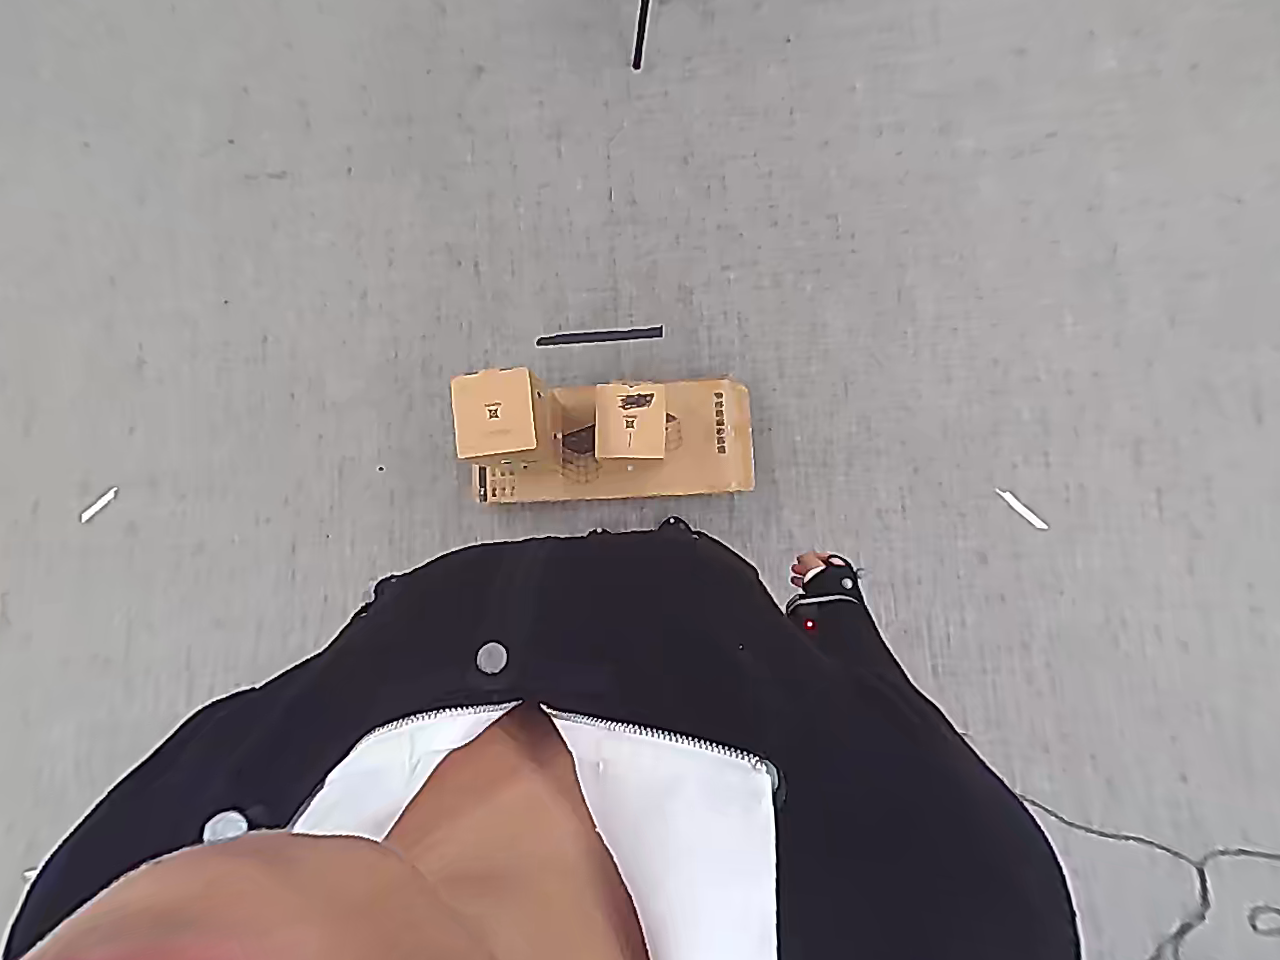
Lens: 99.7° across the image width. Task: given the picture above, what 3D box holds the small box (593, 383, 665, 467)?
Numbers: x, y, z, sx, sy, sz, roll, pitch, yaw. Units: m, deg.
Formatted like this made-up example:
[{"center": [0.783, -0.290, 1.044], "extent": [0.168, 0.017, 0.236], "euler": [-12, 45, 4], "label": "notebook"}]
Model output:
[{"center": [-0.023, -0.132, 1.341], "extent": [0.168, 0.176, 0.179], "euler": [1, 86, 3], "label": "small box"}]

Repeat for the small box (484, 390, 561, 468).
[{"center": [-0.292, -0.120, 1.345], "extent": [0.168, 0.176, 0.179], "euler": [-1, 86, 1], "label": "small box"}]

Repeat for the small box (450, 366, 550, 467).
[{"center": [-0.299, -0.132, 1.183], "extent": [0.168, 0.176, 0.179], "euler": [-8, 86, 1], "label": "small box"}]
